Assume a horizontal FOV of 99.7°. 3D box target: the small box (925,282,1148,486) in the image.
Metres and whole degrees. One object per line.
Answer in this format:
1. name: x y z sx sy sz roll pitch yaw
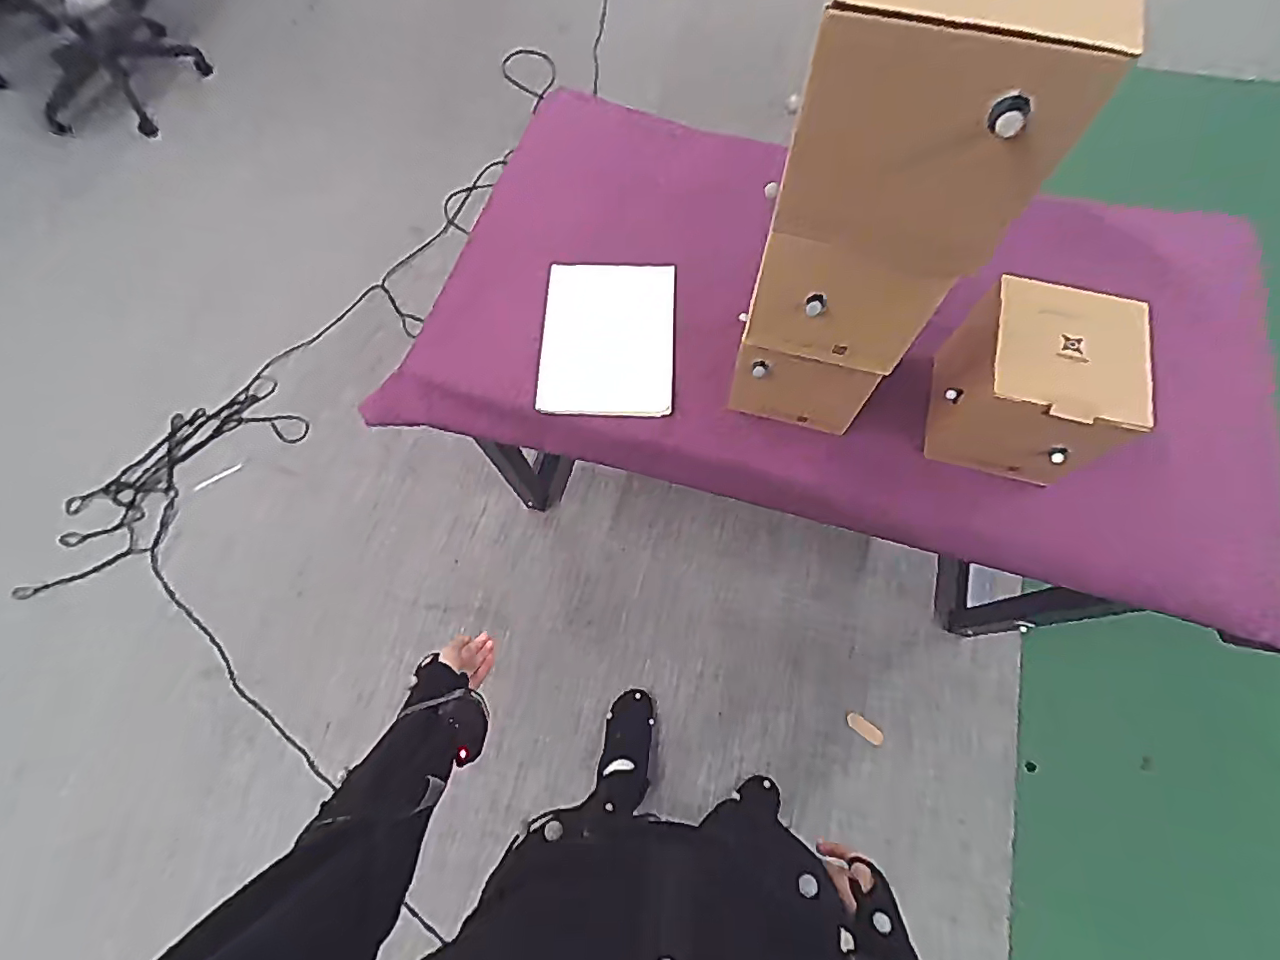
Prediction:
1. small box: 0.487 -0.111 0.686 0.168 0.176 0.179 16 69 7

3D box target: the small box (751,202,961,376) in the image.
1. small box: 0.221 -0.236 0.569 0.168 0.176 0.179 16 69 8

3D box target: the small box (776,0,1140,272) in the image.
1. small box: 0.222 -0.289 0.412 0.179 0.176 0.168 18 69 9
